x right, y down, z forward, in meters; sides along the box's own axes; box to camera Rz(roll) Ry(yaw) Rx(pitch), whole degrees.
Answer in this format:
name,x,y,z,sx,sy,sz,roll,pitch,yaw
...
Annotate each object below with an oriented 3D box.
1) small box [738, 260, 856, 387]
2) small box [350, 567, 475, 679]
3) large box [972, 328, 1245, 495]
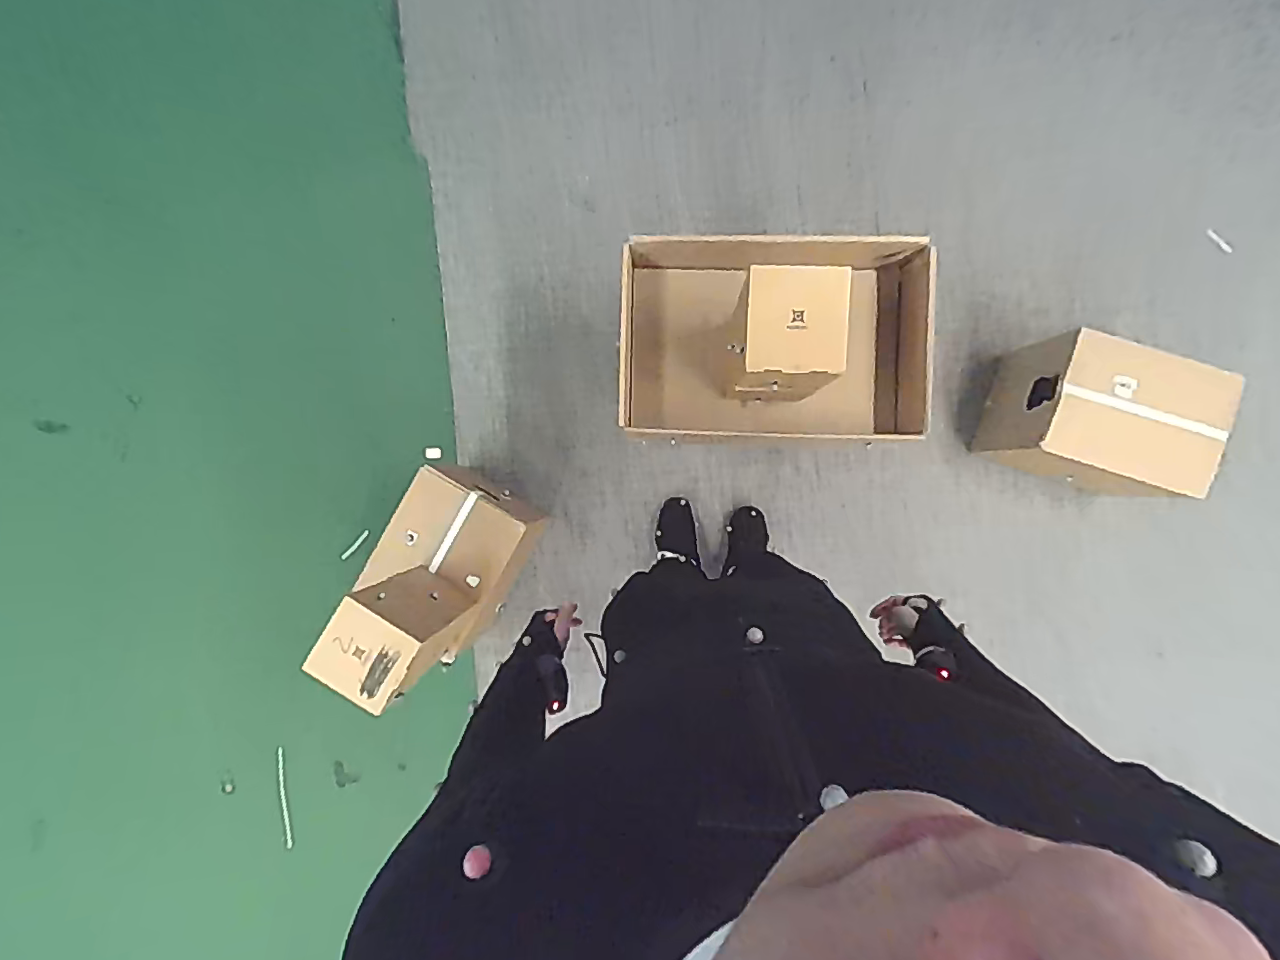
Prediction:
name,x,y,z,sx,sy,sz,roll,pitch,yaw
small box,0.268,-0.269,0.956,0.168,0.176,0.179,2,91,3
small box,-0.513,0.319,1.251,0.179,0.176,0.168,33,91,1
large box,1.200,-0.164,1.431,0.408,0.320,0.320,18,90,3
